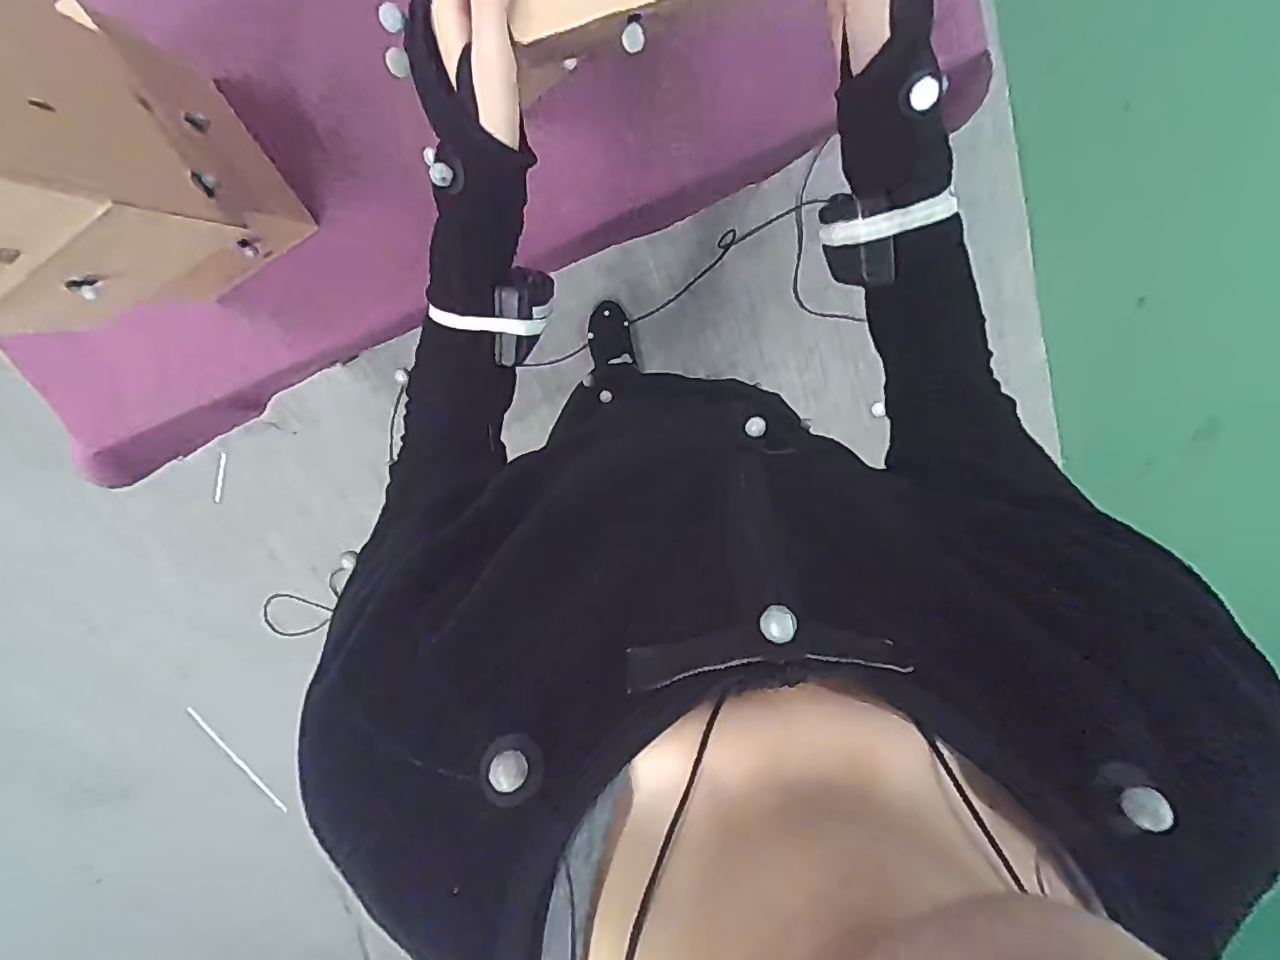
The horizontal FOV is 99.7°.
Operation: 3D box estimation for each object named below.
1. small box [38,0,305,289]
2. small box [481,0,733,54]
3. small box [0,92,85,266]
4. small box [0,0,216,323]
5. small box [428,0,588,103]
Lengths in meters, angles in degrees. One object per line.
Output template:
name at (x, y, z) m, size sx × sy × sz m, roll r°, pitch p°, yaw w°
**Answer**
small box at (-0.484, -0.304, 0.534) m, size 0.168 × 0.176 × 0.179 m, roll -30°, pitch 108°, yaw 5°
small box at (-0.013, -0.352, 0.288) m, size 0.179 × 0.176 × 0.168 m, roll -13°, pitch 125°, yaw 3°
small box at (-0.435, -0.169, 0.239) m, size 0.168 × 0.176 × 0.179 m, roll -34°, pitch 108°, yaw 6°
small box at (-0.461, -0.228, 0.388) m, size 0.179 × 0.176 × 0.168 m, roll -30°, pitch 109°, yaw 5°
small box at (-0.130, -0.498, 0.494) m, size 0.168 × 0.176 × 0.179 m, roll -35°, pitch 108°, yaw 8°
